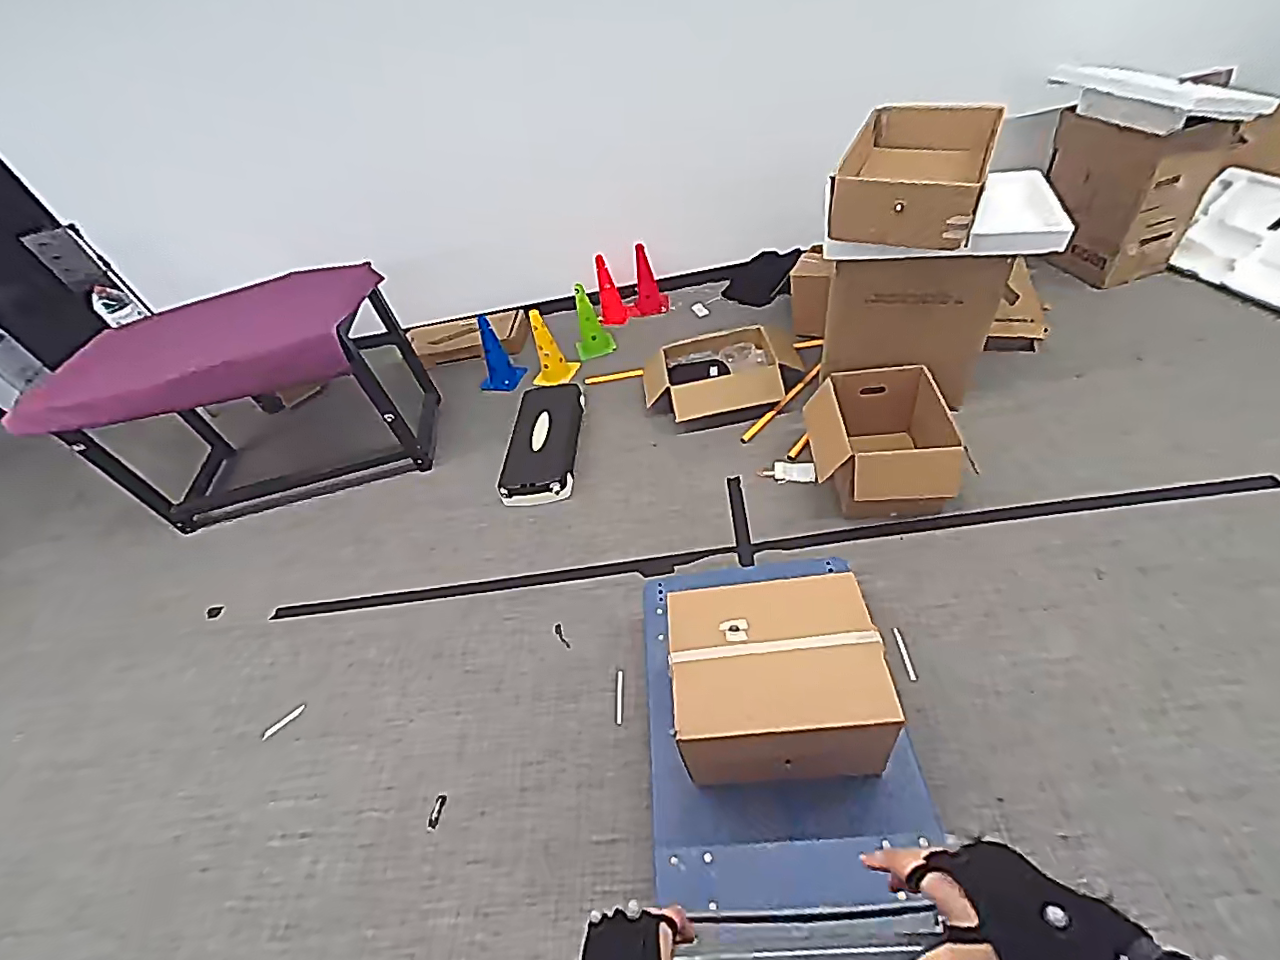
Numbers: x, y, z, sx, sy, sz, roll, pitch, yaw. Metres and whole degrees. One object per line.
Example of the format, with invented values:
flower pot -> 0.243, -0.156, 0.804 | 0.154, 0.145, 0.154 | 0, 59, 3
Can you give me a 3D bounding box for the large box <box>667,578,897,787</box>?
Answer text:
large box -> 0.290, 0.453, 1.189 | 0.408, 0.320, 0.320 | -9, 44, 8
